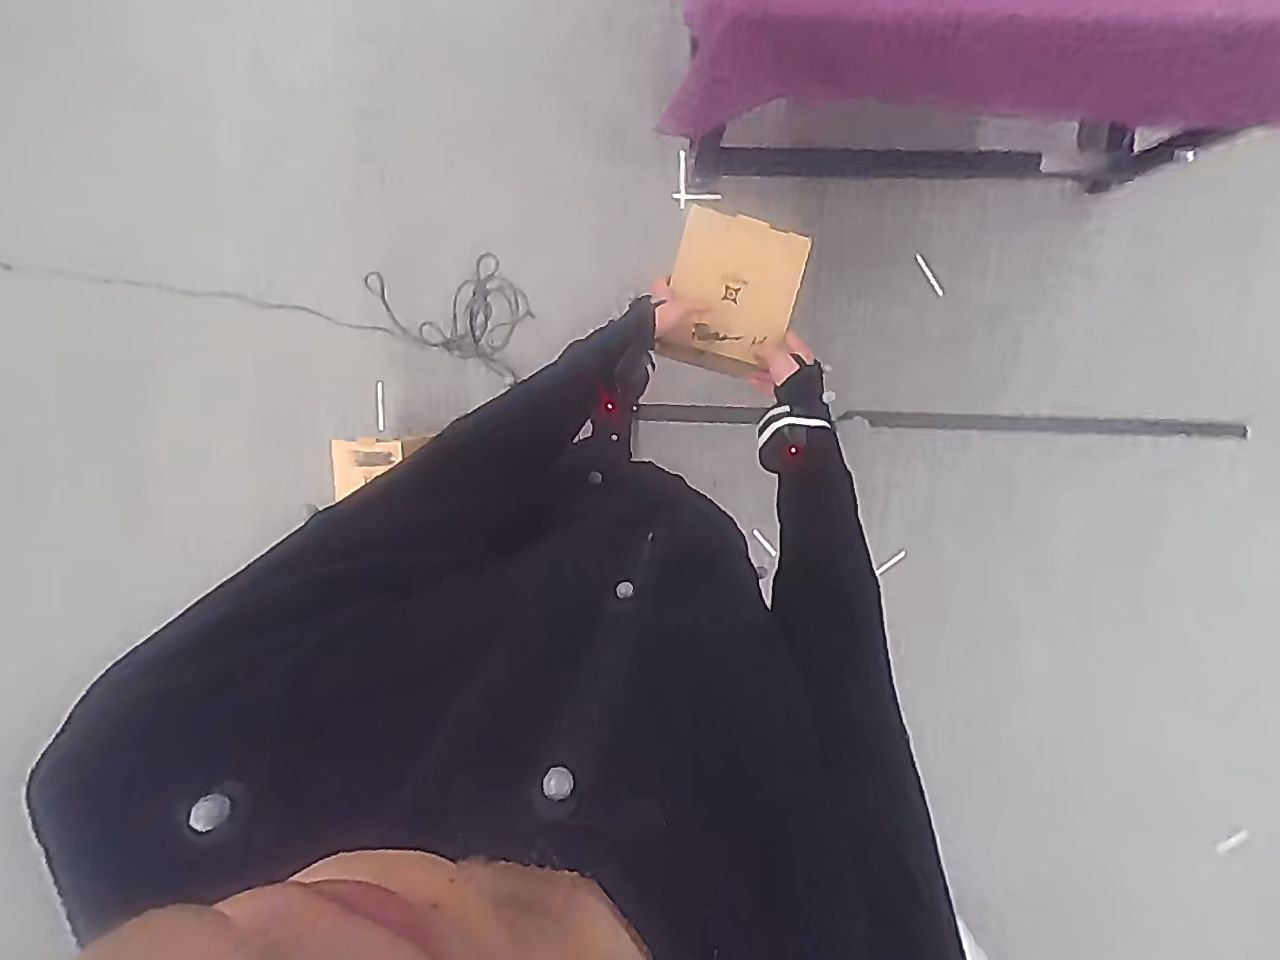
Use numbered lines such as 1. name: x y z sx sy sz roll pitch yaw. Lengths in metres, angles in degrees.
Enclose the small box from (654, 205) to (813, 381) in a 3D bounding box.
1. small box: 0.120 -0.252 0.774 0.168 0.176 0.179 16 96 -2
